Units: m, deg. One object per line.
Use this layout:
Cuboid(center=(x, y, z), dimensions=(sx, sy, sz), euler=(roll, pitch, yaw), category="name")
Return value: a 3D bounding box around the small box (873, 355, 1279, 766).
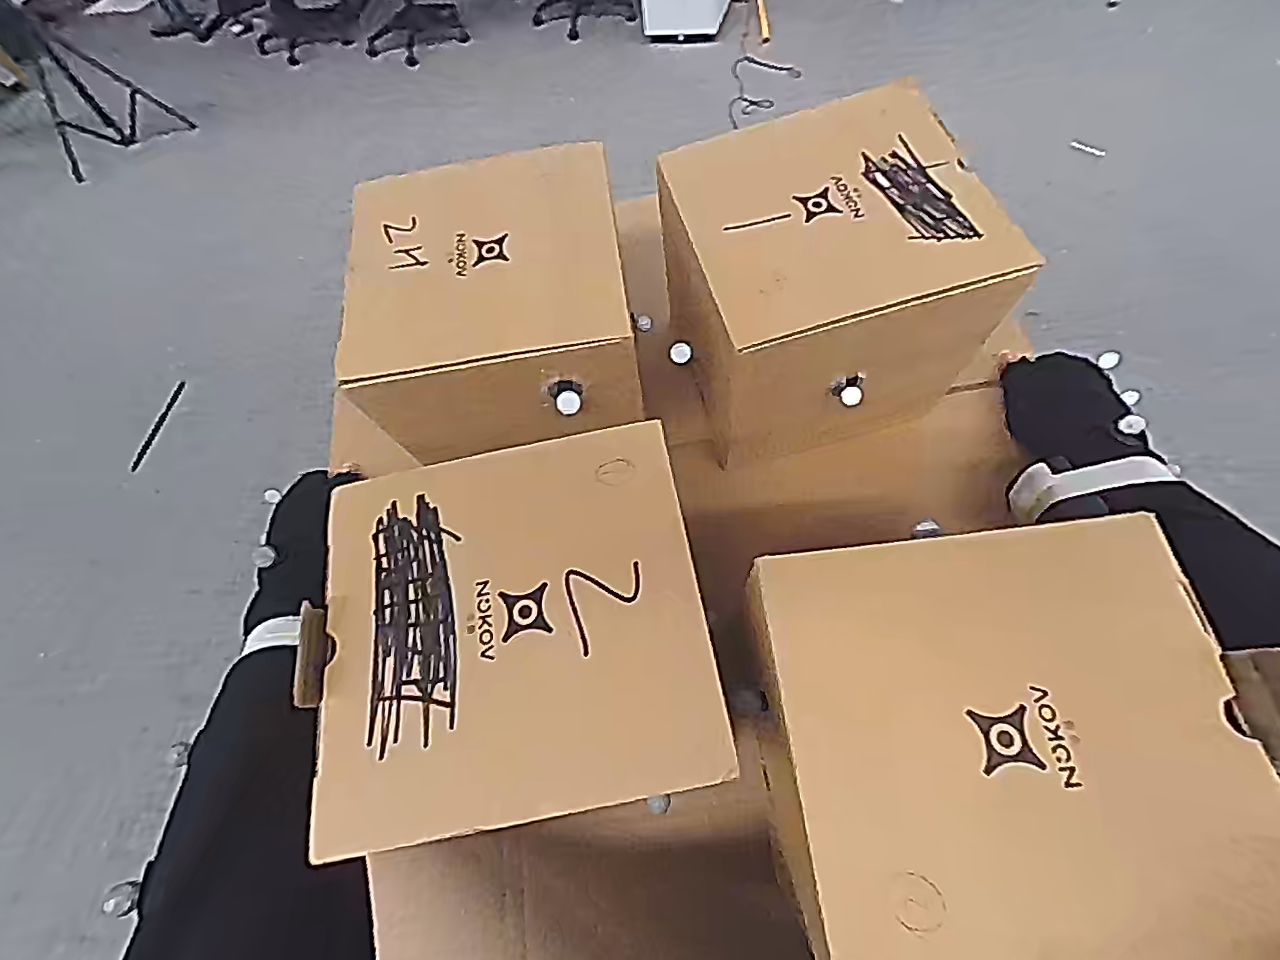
Cuboid(center=(0.247, 0.044, 0.299), dimensions=(0.179, 0.176, 0.168), euler=(6, 79, 7), category="small box")
